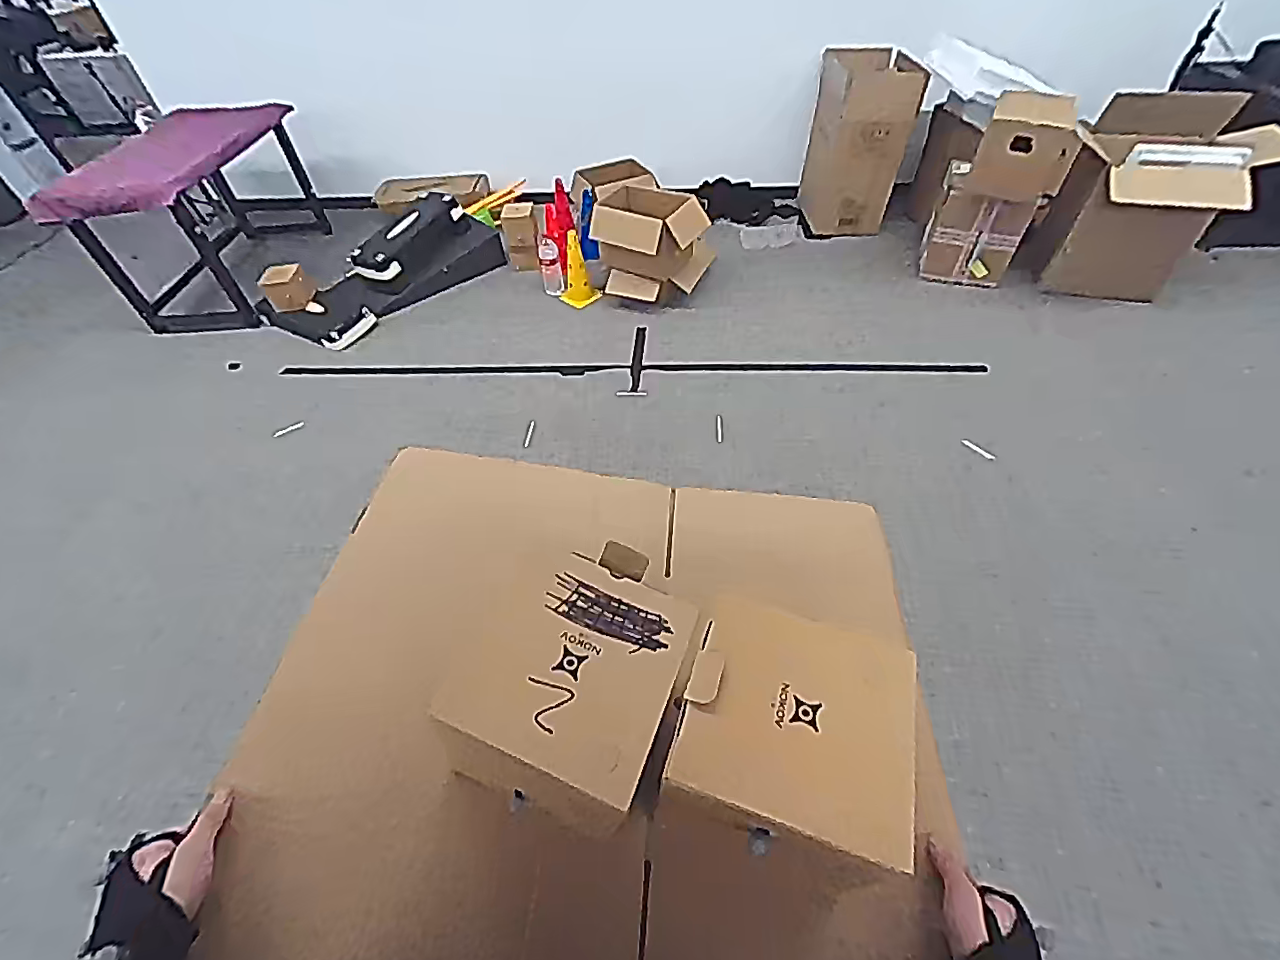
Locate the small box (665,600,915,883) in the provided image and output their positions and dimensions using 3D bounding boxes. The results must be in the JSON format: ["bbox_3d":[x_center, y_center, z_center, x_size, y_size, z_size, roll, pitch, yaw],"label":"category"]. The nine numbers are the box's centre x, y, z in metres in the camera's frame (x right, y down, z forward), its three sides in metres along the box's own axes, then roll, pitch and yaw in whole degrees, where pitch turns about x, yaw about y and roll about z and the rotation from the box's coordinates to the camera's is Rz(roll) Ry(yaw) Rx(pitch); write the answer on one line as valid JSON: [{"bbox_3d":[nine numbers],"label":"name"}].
[{"bbox_3d":[0.129,0.242,0.497,0.179,0.176,0.168,14,50,13],"label":"small box"}]
